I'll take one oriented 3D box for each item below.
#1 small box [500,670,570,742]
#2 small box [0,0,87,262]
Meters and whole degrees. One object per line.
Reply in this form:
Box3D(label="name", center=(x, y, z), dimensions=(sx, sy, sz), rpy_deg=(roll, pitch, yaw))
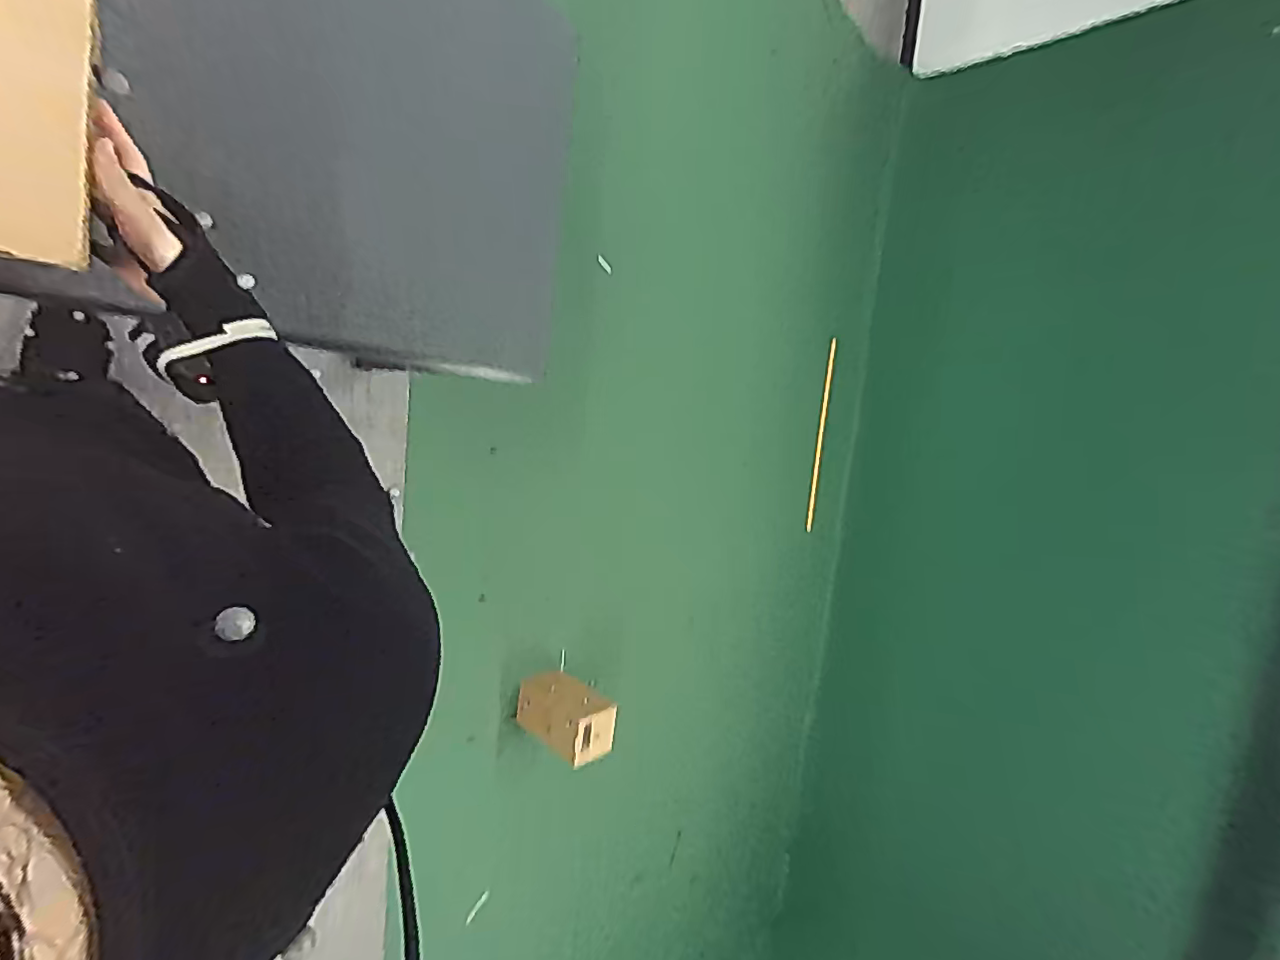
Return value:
Box3D(label="small box", center=(-0.387, 0.821, 1.988), dimensions=(0.179, 0.176, 0.168), rpy_deg=(3, 97, -49))
Box3D(label="small box", center=(-0.469, -0.251, 0.337), dimensions=(0.168, 0.176, 0.179), rpy_deg=(3, 103, -46))
